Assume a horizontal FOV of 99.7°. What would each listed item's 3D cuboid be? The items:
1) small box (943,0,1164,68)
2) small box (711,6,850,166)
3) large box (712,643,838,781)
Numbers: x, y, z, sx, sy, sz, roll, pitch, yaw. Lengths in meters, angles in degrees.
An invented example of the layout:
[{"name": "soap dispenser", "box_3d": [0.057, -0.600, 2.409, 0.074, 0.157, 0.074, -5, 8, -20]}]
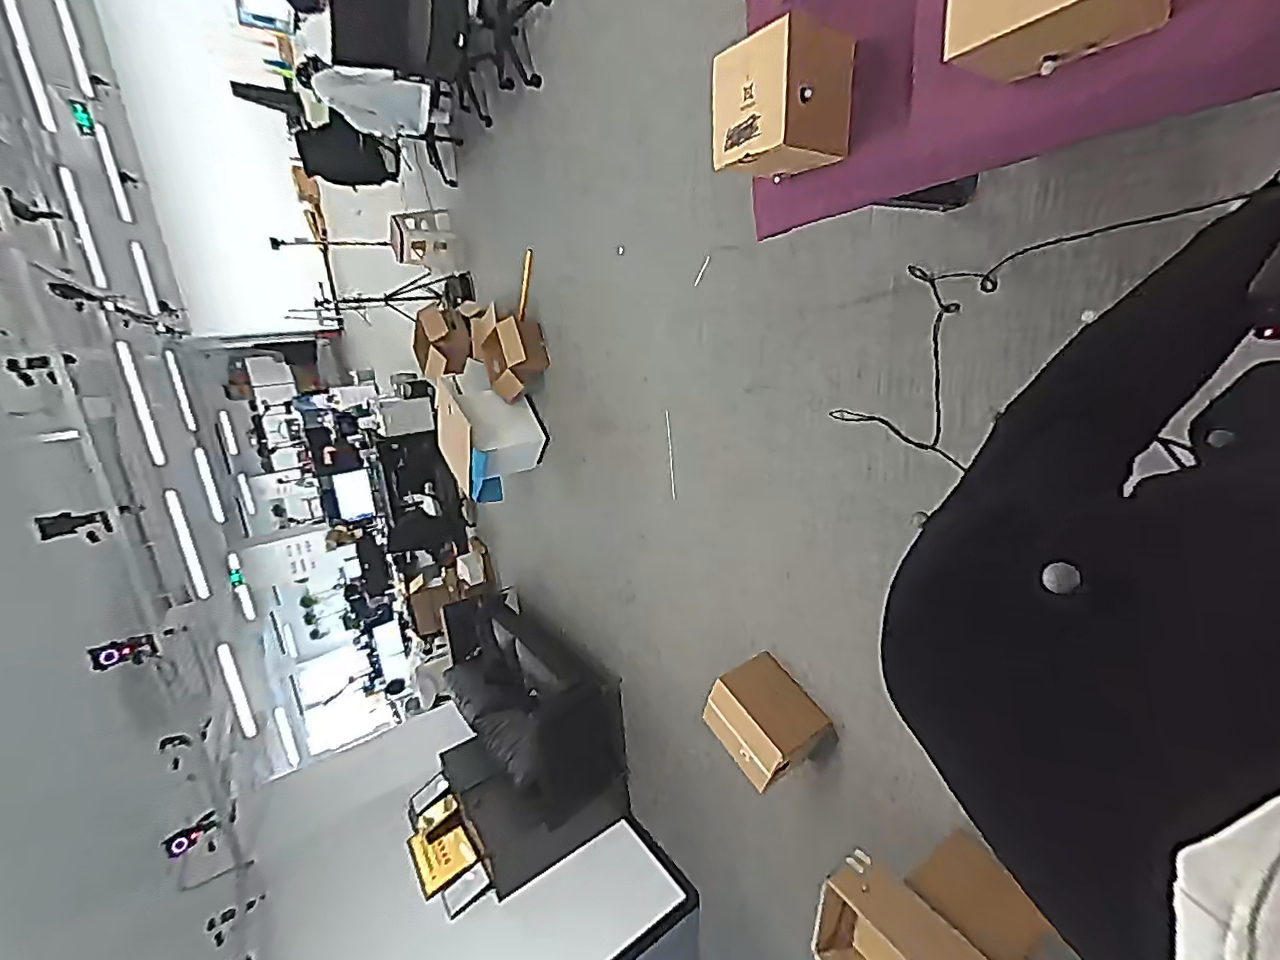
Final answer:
[{"name": "small box", "box_3d": [0.469, -0.604, 0.602, 0.168, 0.176, 0.179, 18, 118, 54]}, {"name": "small box", "box_3d": [0.239, -0.653, 0.926, 0.168, 0.176, 0.179, 19, 118, 52]}, {"name": "large box", "box_3d": [0.591, 1.019, 2.414, 0.408, 0.320, 0.320, 43, 137, 38]}]
